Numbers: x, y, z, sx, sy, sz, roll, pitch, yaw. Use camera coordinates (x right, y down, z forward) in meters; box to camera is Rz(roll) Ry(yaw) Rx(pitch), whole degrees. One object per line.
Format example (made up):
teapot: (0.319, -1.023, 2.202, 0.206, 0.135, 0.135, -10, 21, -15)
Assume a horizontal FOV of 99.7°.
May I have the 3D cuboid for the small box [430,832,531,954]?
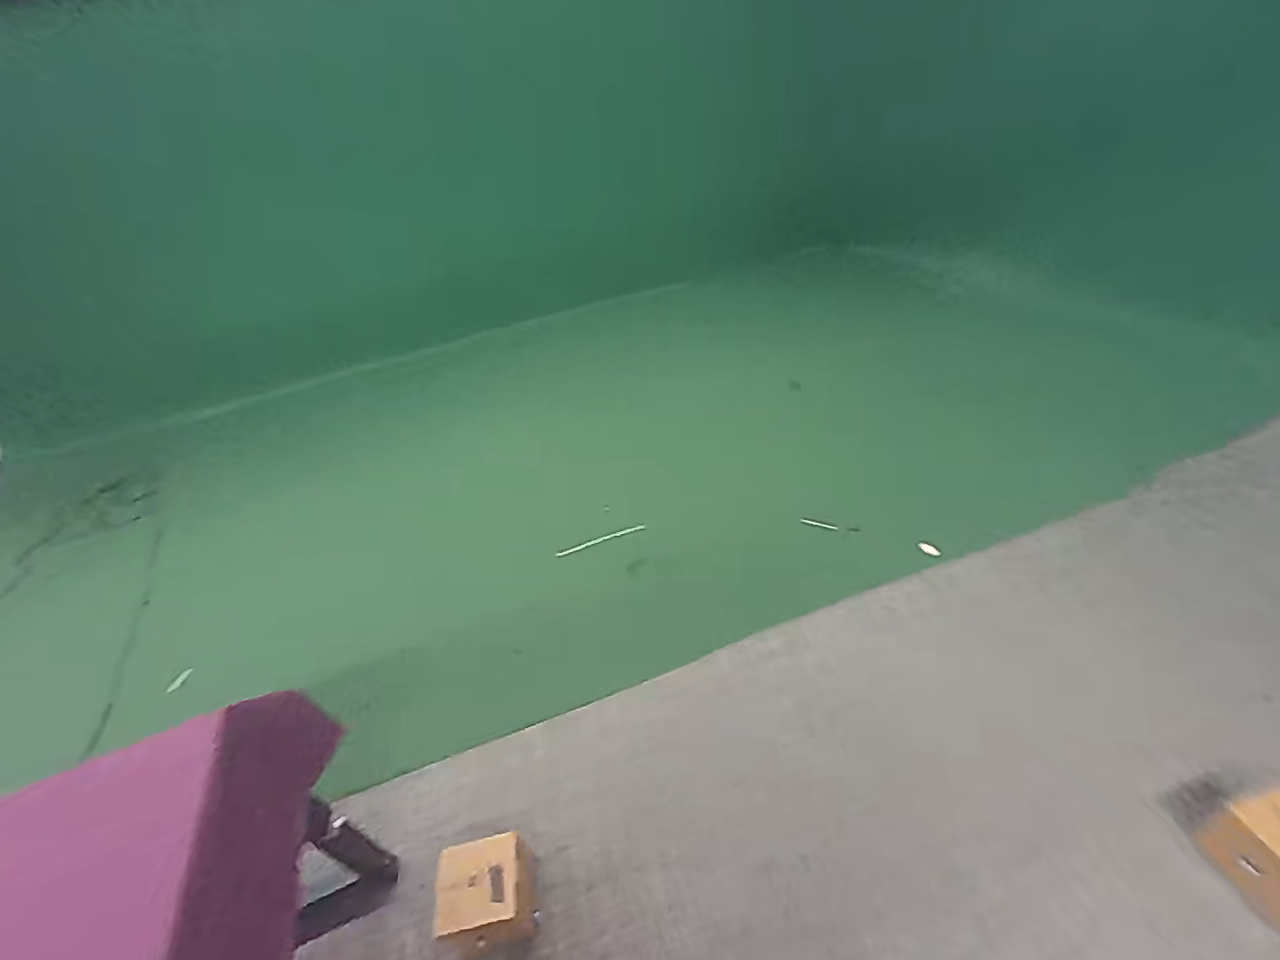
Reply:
small box: (-0.349, 0.936, 1.226, 0.179, 0.176, 0.168, -14, 38, -2)
